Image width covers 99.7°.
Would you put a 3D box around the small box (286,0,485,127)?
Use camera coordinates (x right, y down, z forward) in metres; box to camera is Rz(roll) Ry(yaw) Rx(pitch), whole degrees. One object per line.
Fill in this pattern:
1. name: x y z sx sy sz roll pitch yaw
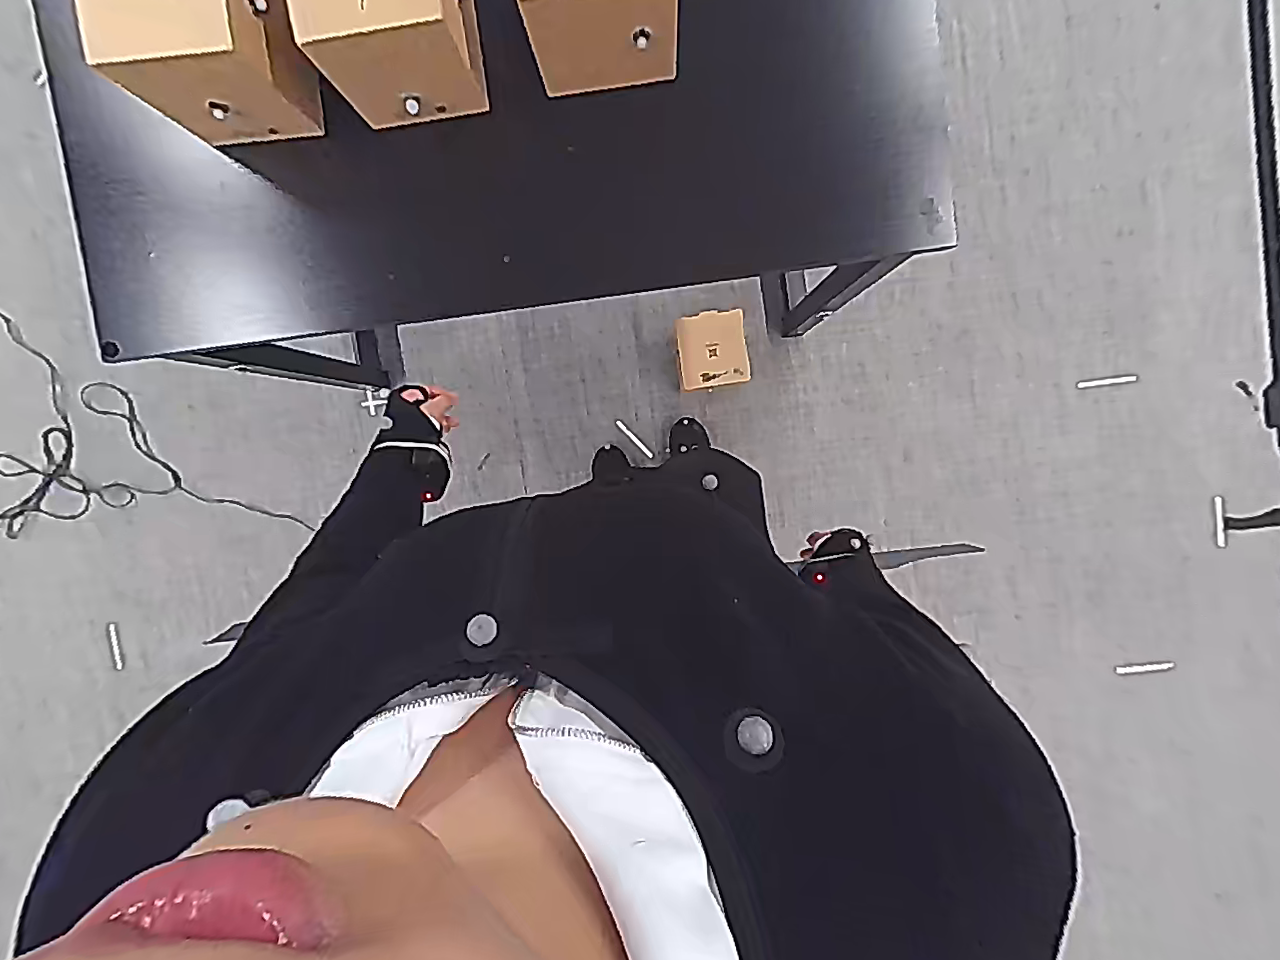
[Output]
1. small box: -0.300 -0.570 0.650 0.168 0.176 0.179 -8 95 2

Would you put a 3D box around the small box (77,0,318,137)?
1. small box: -0.523 -0.547 0.657 0.168 0.176 0.179 -4 94 1

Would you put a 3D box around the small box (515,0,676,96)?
1. small box: -0.053 -0.601 0.643 0.179 0.176 0.168 -7 93 3

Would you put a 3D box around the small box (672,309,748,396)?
1. small box: 0.173 -0.320 1.386 0.168 0.176 0.179 -8 93 3
